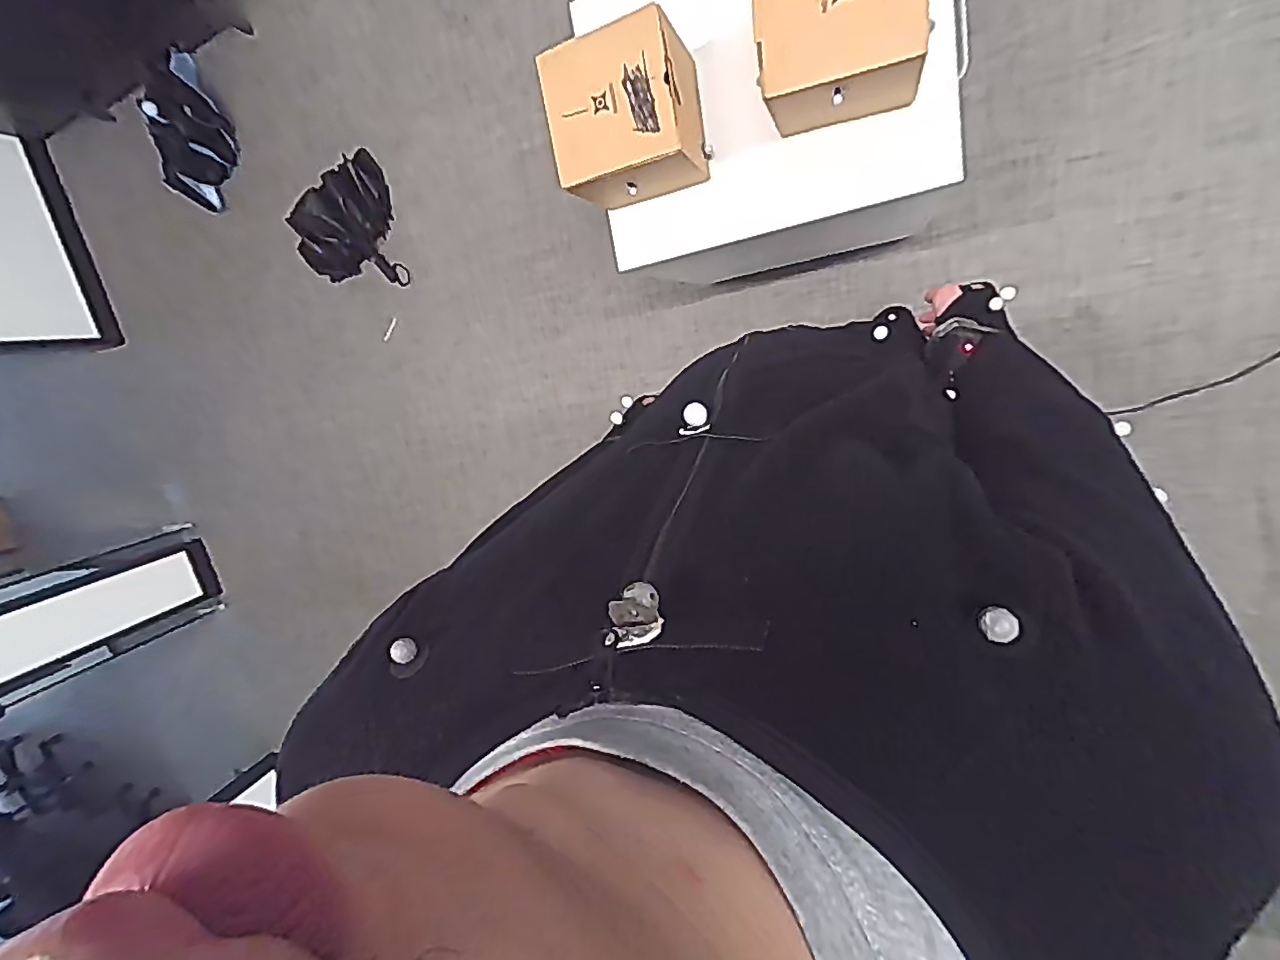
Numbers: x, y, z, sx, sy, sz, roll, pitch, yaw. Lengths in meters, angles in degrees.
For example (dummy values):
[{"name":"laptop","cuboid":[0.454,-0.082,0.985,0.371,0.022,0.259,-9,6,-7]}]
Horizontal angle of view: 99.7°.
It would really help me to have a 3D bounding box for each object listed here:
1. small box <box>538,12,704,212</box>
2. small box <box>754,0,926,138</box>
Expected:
[{"name":"small box","cuboid":[-0.014,-0.501,0.768,0.179,0.176,0.168,-5,103,23]},{"name":"small box","cuboid":[0.242,-0.543,0.655,0.179,0.176,0.168,-1,107,22]}]
